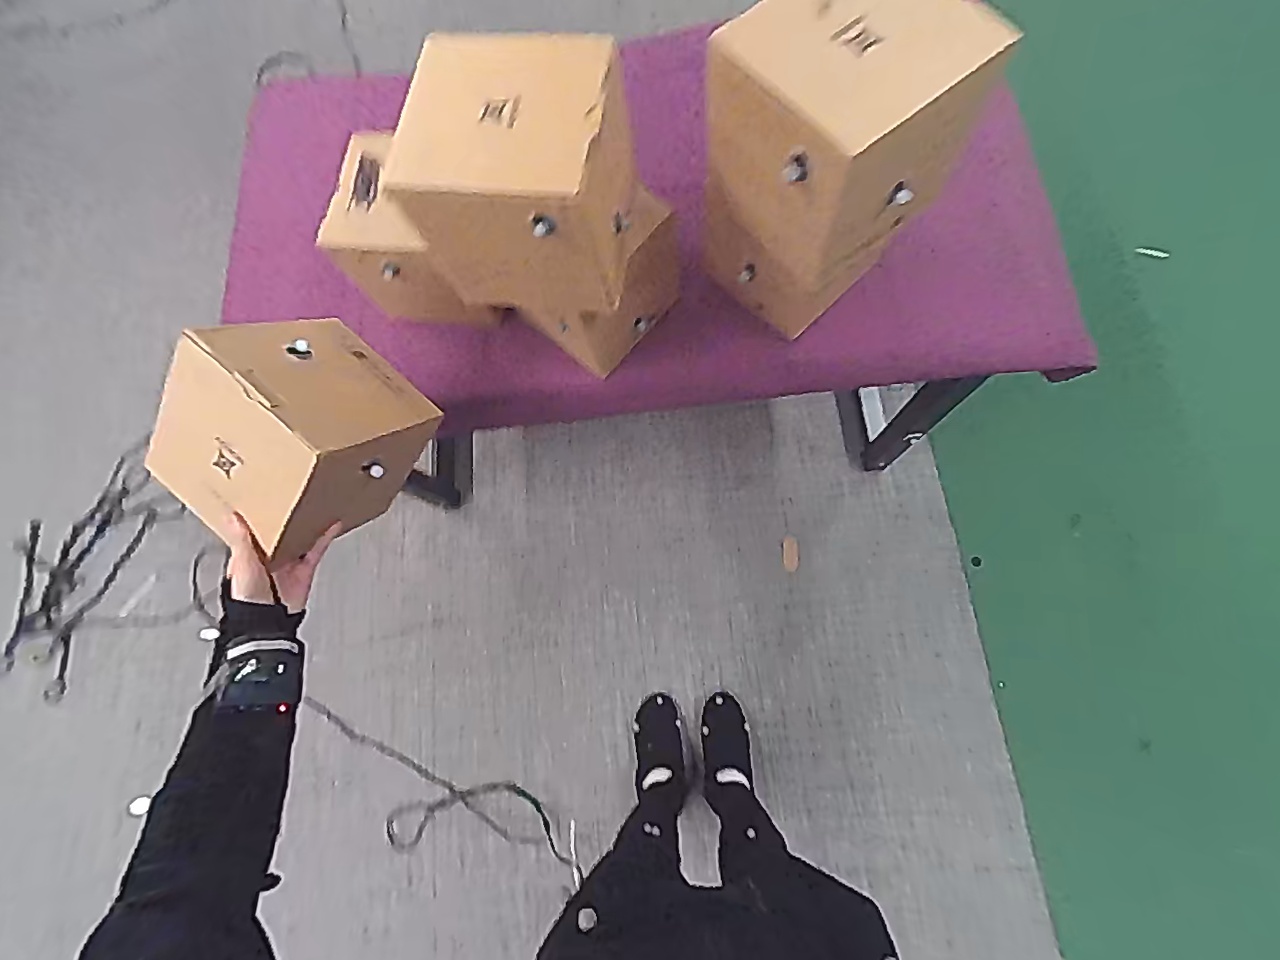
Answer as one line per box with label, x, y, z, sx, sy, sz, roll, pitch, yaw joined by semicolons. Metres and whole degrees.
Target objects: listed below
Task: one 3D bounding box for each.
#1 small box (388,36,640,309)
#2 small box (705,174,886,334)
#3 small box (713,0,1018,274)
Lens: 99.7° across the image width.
small box;-0.104;-0.288;0.532;0.179;0.176;0.168;7;76;8
small box;0.201;-0.319;0.675;0.179;0.176;0.168;-43;74;-5
small box;0.185;-0.325;0.506;0.168;0.176;0.179;-36;73;-4
